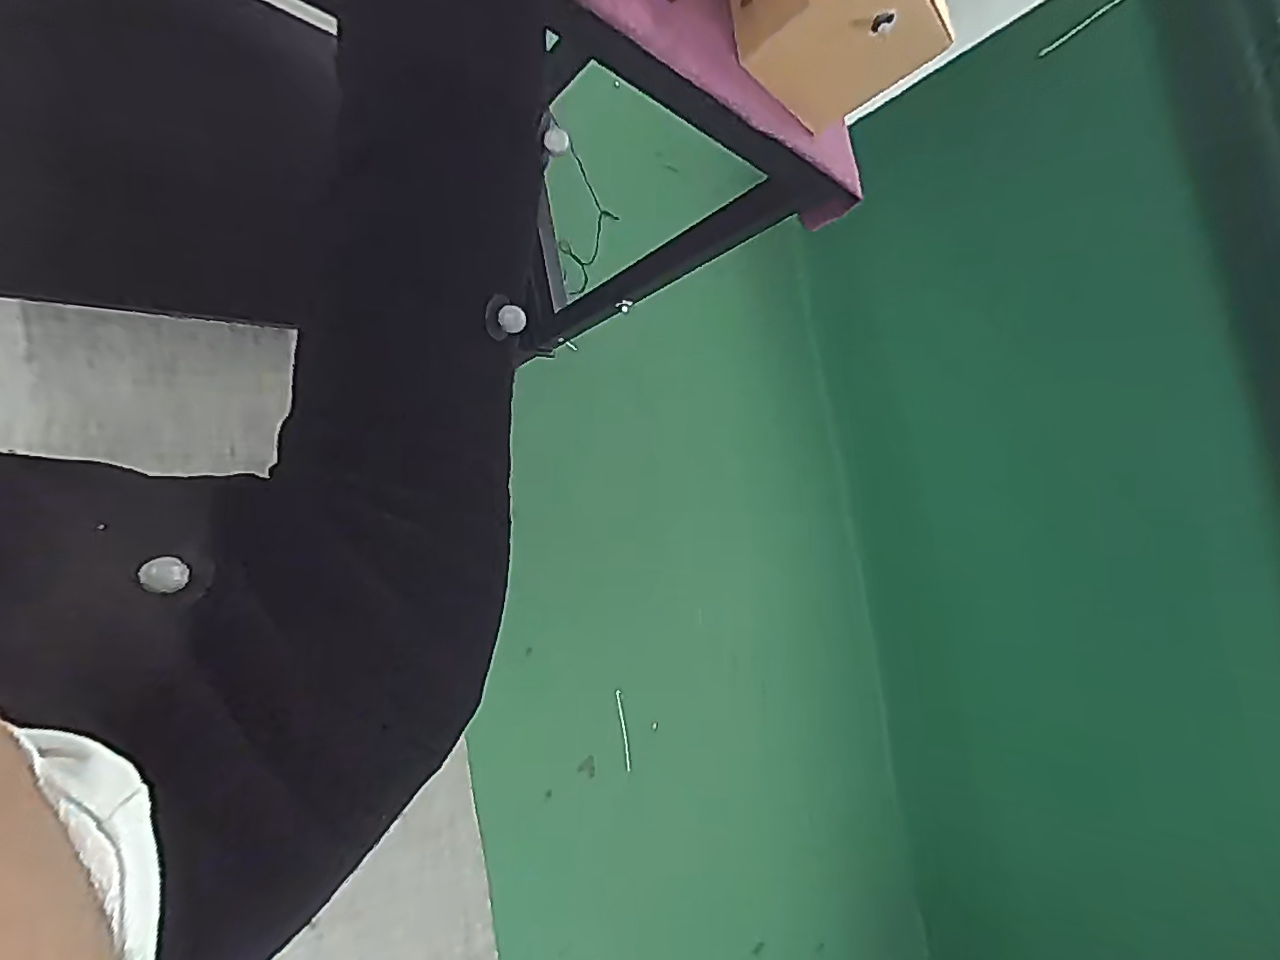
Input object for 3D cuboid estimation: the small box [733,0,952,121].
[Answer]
[{"bbox_3d":[0.212,-0.546,0.593,0.179,0.176,0.168,0,81,-46],"label":"small box"}]
